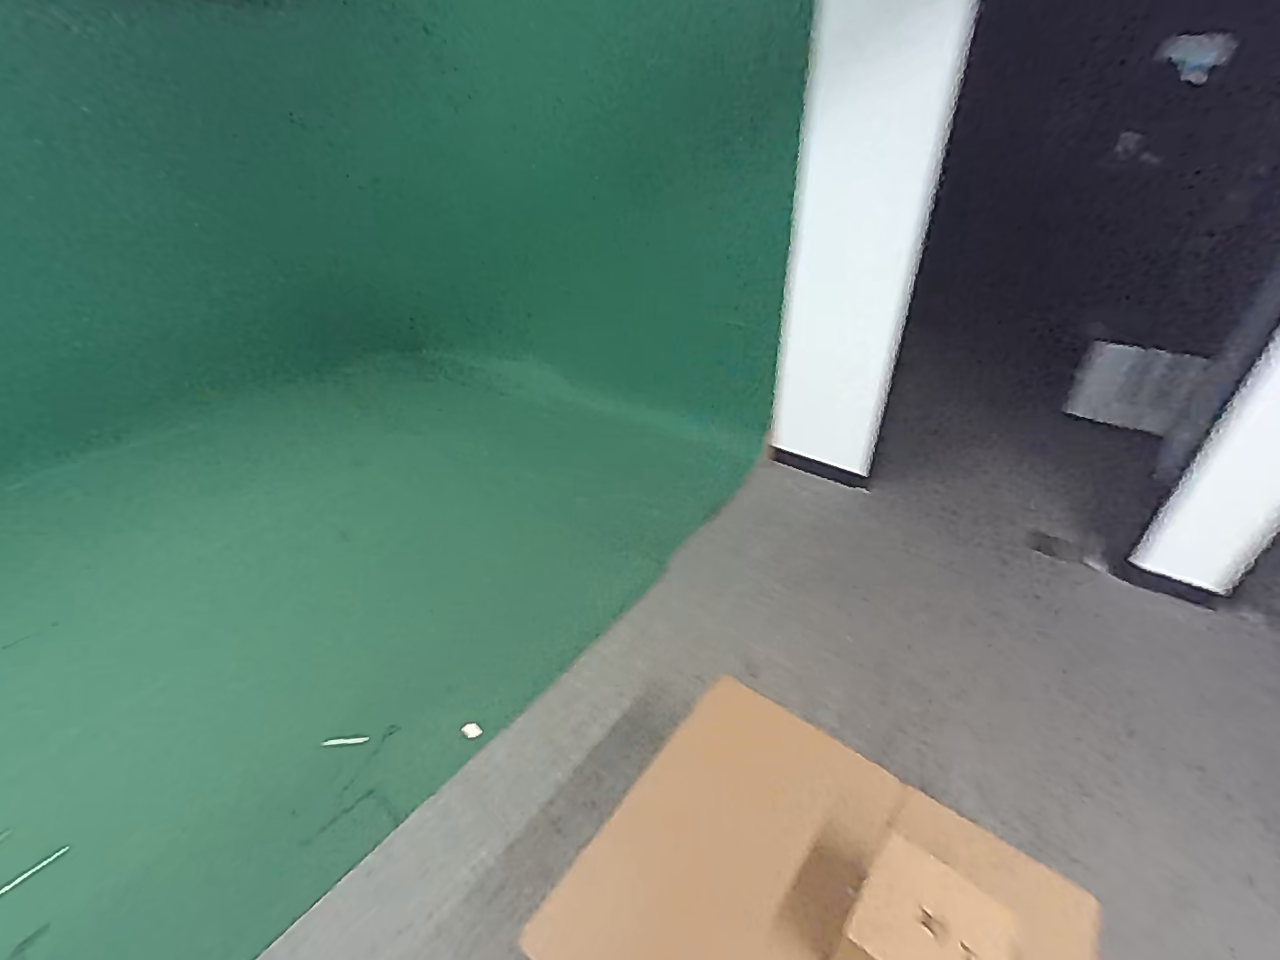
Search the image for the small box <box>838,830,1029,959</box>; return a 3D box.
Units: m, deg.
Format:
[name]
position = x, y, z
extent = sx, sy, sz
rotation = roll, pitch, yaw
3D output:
[small box]
position = 0.393, 0.647, 0.747
extent = 0.179, 0.176, 0.168
rotation = 24, 44, 36
